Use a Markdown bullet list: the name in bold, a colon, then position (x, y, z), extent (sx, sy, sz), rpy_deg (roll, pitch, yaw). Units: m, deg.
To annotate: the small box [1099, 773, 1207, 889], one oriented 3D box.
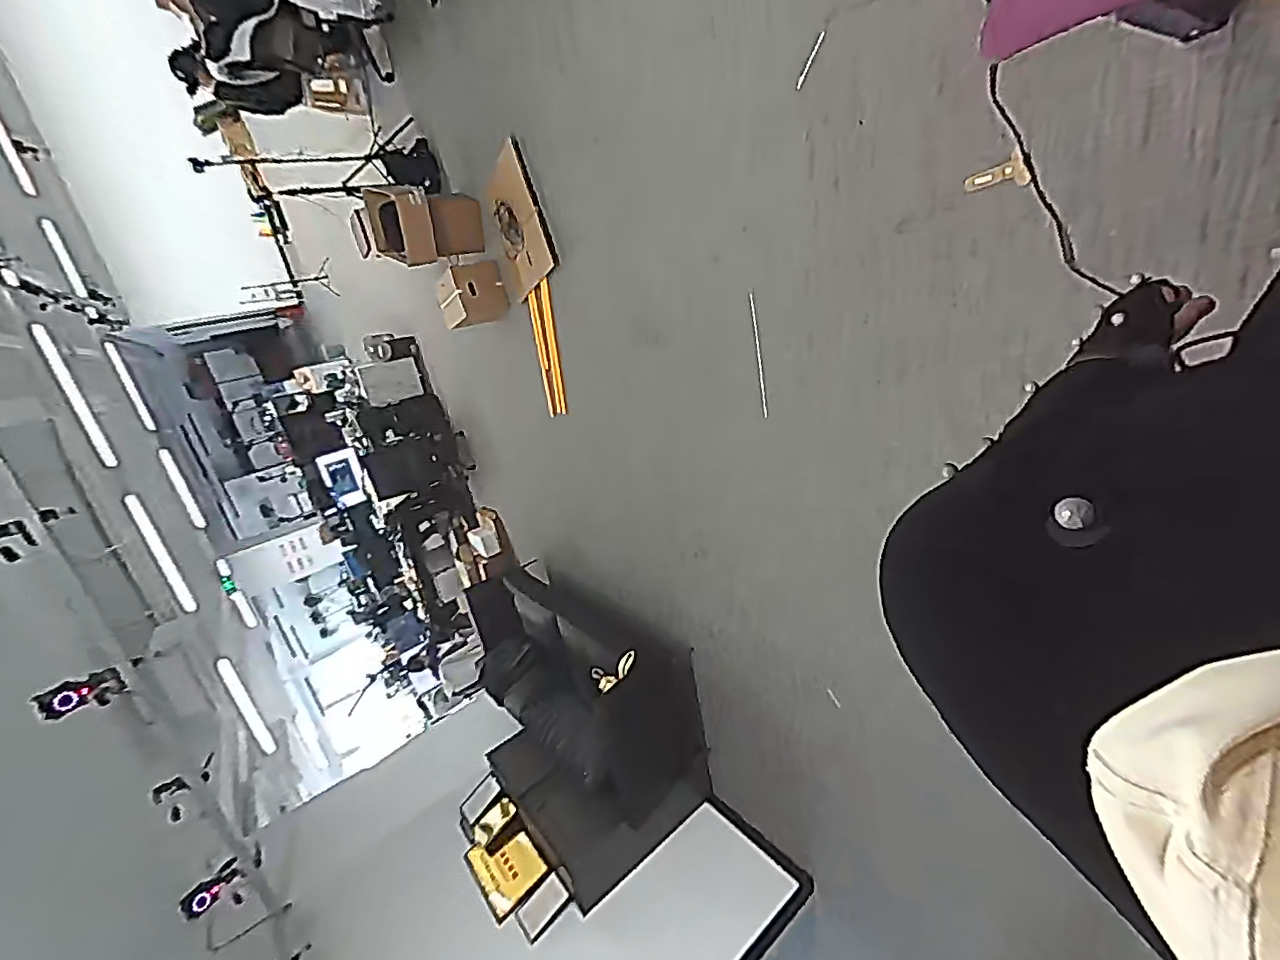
- **small box**: position (1.402, 0.945, 1.480), extent (0.179, 0.176, 0.168), rpy_deg (15, 122, 51)
